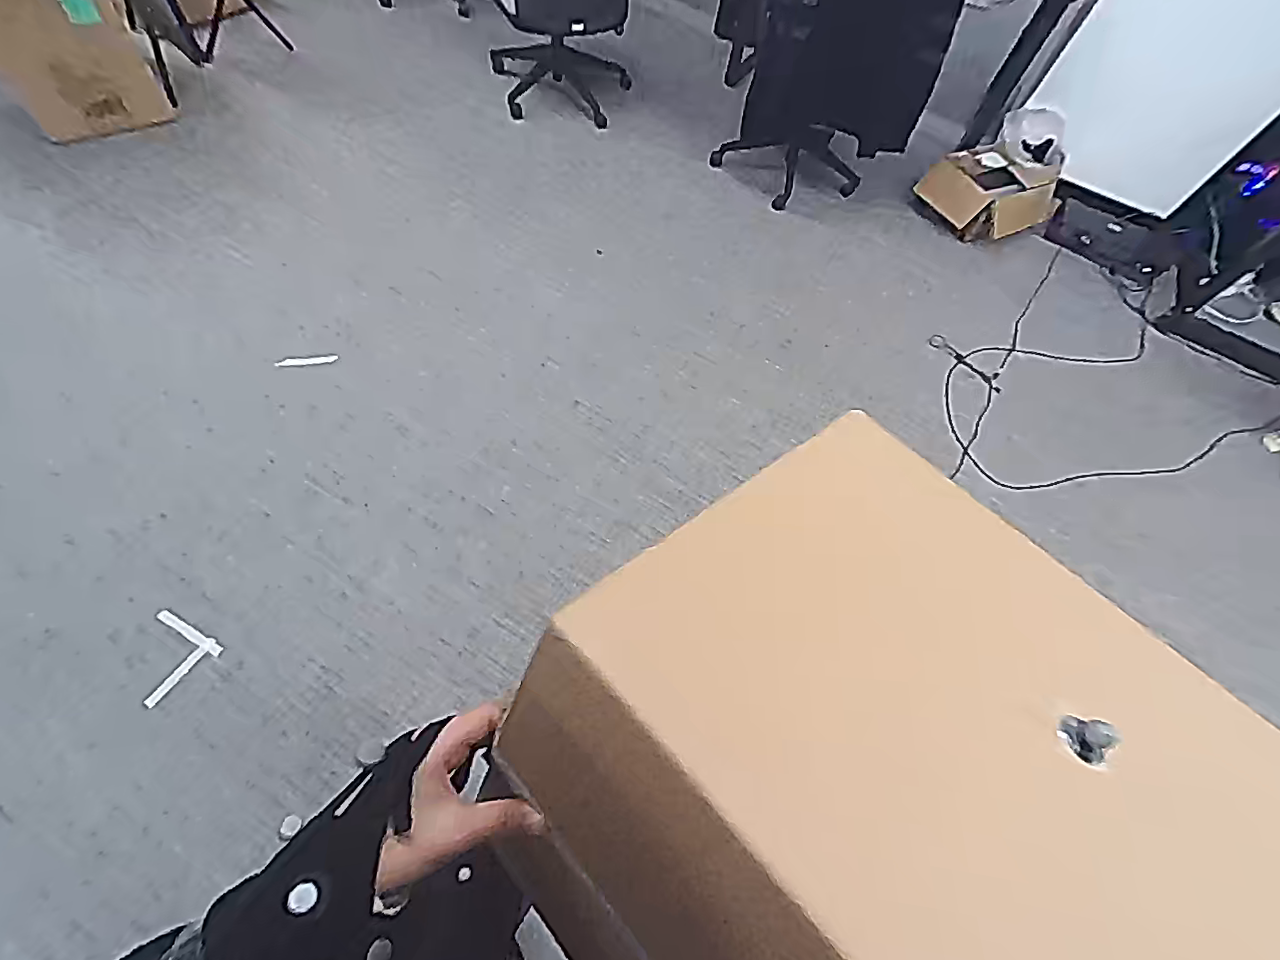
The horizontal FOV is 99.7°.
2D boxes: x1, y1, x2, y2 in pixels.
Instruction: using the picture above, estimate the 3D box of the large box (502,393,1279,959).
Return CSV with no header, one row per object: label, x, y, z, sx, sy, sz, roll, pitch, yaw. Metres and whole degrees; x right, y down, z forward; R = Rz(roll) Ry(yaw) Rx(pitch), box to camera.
large box,0.173,0.207,0.346,0.408,0.320,0.320,43,46,19
